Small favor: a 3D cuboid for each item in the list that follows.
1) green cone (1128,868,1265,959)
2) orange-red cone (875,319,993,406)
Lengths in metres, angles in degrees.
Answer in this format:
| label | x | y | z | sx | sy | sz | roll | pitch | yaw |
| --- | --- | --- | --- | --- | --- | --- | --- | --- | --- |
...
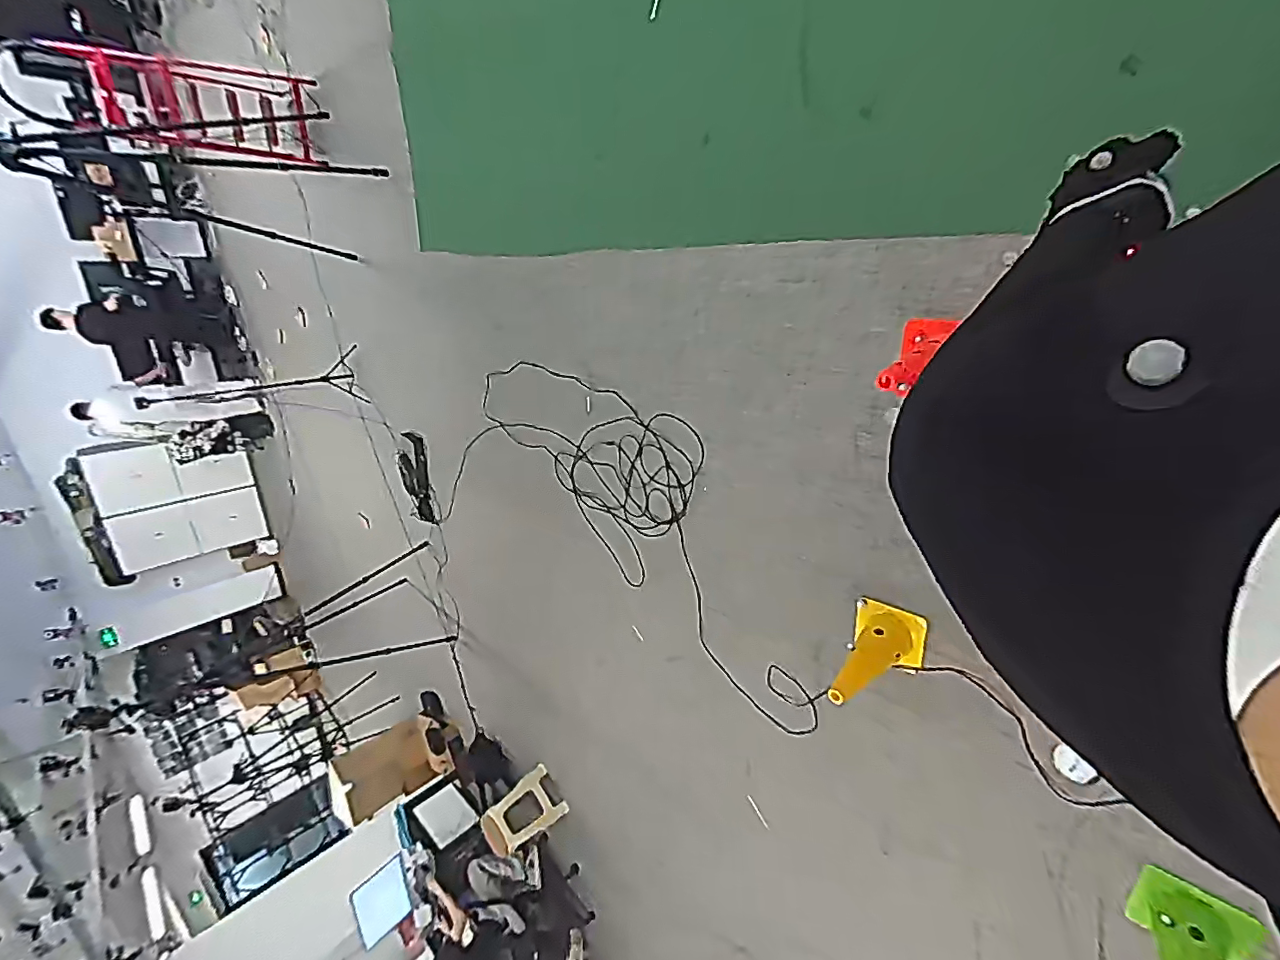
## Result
| label | x | y | z | sx | sy | sz | roll | pitch | yaw |
| --- | --- | --- | --- | --- | --- | --- | --- | --- | --- |
| green cone | 1.191 | 1.093 | 1.174 | 0.202 | 0.368 | 0.200 | 18 | 117 | 42 |
| orange-red cone | 0.630 | -0.247 | 1.231 | 0.198 | 0.360 | 0.199 | 20 | 120 | 41 |
